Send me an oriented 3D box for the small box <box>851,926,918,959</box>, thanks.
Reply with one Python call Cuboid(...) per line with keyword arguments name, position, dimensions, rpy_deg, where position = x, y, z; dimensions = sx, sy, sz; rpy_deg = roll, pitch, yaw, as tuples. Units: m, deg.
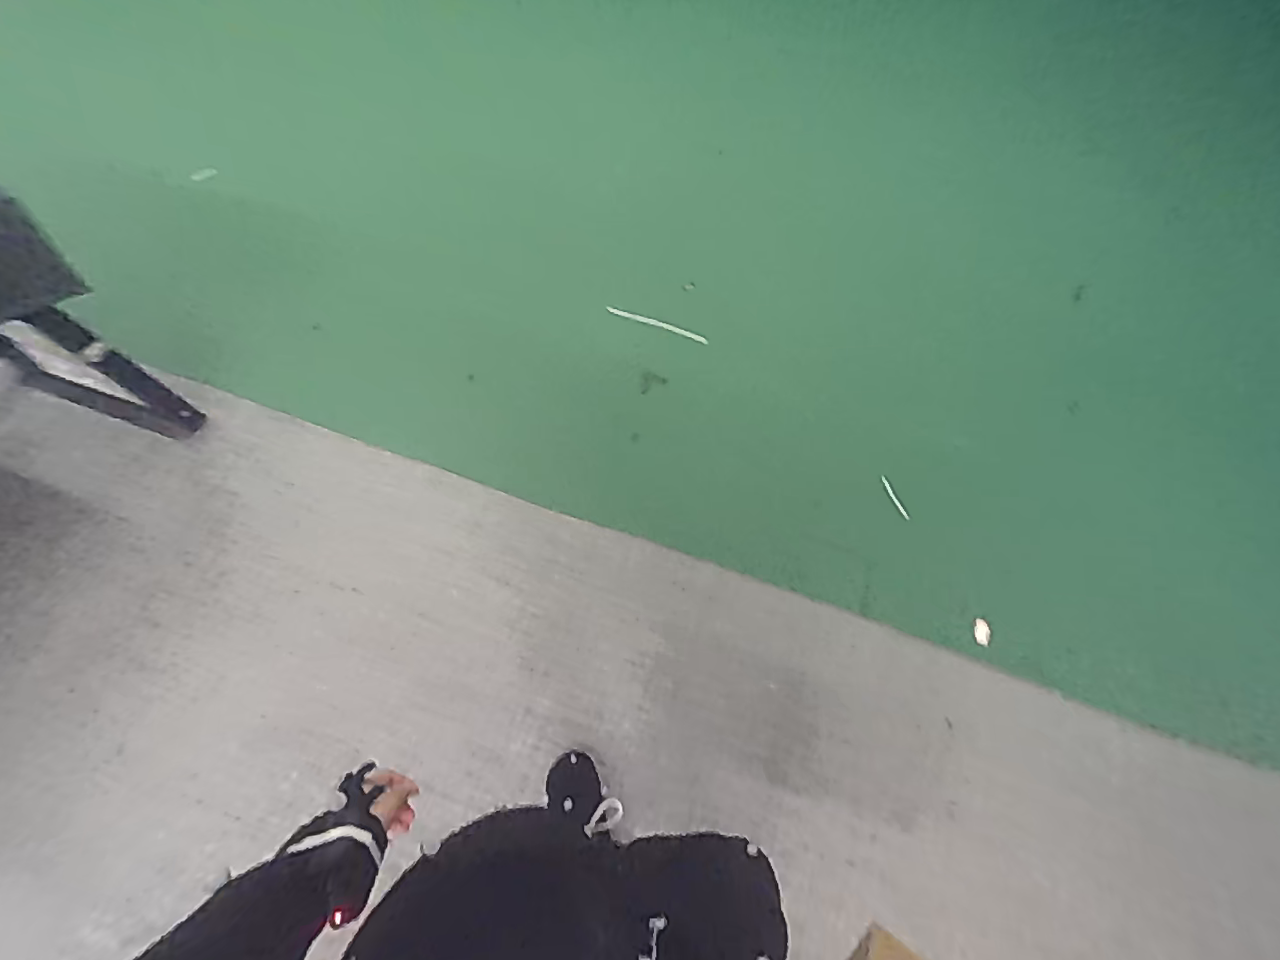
Cuboid(name="small box", position=(0.271, 0.641, 0.556), dimensions=(0.168, 0.179, 0.176), rpy_deg=(30, 104, 27))
